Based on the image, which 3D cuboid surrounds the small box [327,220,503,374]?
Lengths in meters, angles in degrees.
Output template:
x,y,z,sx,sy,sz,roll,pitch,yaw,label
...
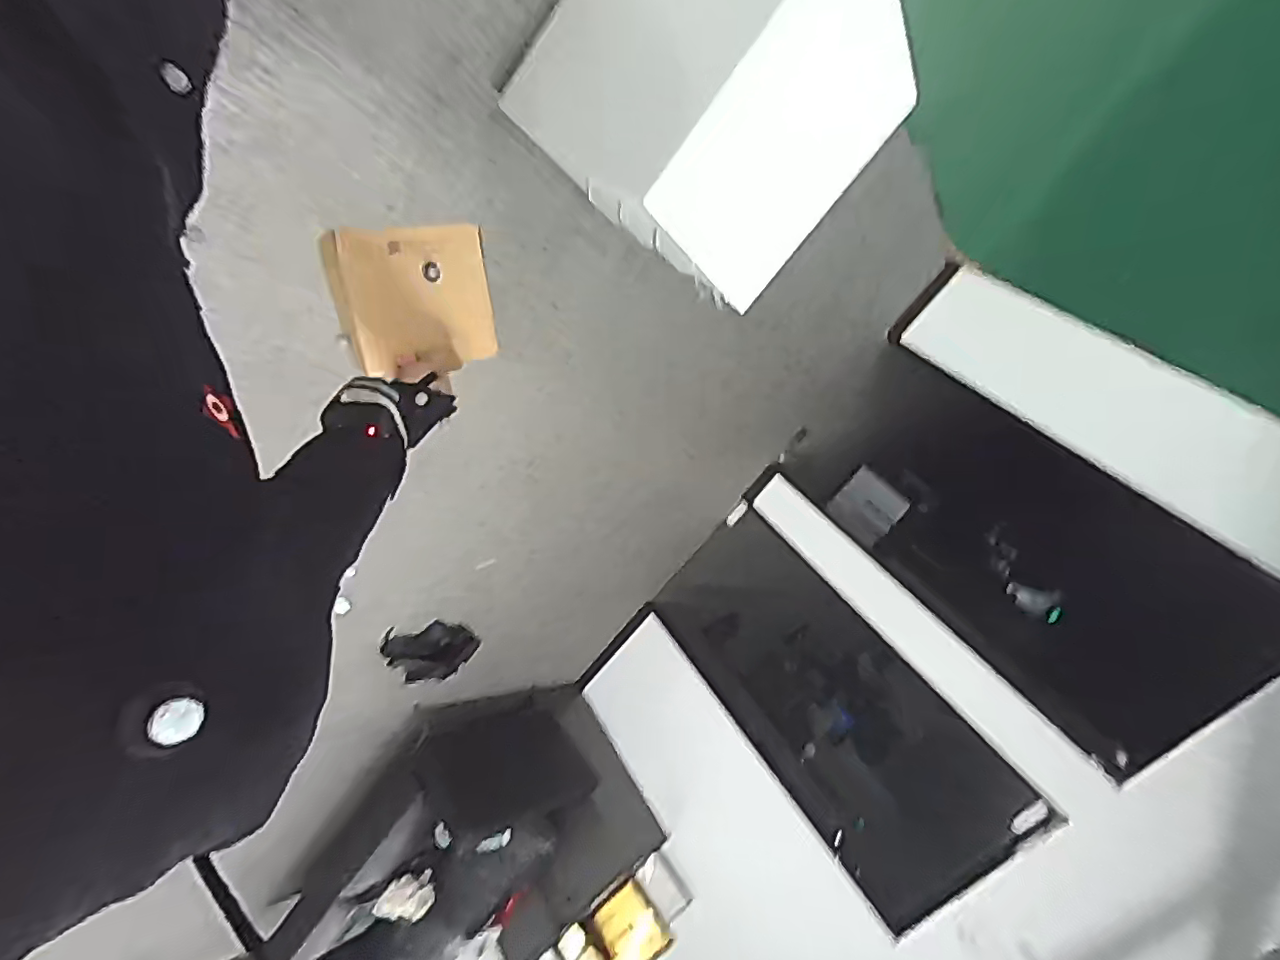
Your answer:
x,y,z,sx,sy,sz,roll,pitch,yaw,label
-0.302,-0.248,0.725,0.168,0.179,0.176,-18,116,-31,small box
